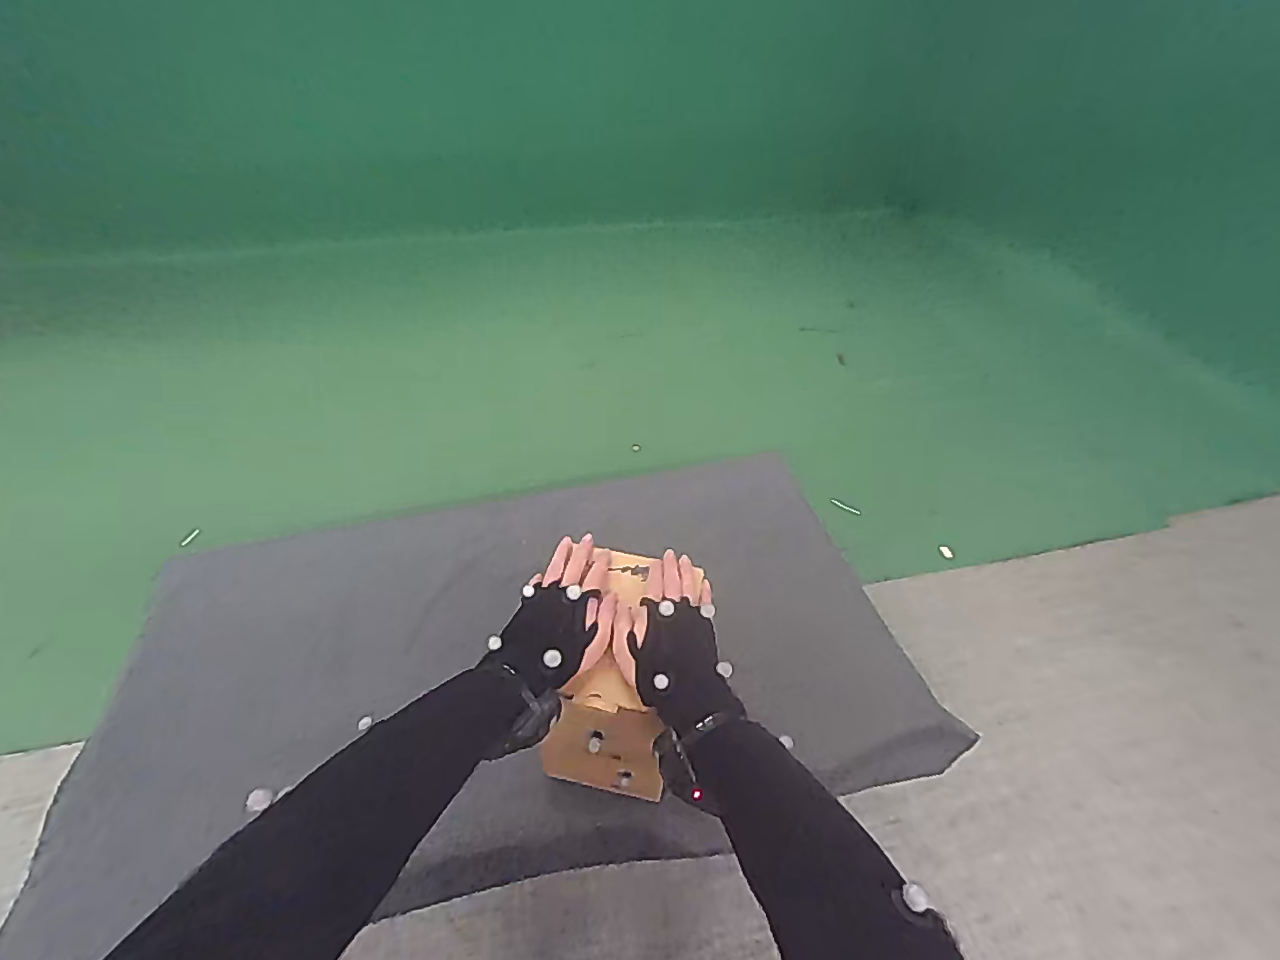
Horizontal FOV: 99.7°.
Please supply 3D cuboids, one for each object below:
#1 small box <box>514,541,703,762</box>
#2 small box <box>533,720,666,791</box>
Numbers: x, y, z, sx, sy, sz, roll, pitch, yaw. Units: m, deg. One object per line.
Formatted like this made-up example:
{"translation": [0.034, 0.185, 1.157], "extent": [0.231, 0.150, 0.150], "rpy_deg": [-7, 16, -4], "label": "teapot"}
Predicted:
{"translation": [-0.027, 0.201, 0.625], "extent": [0.168, 0.176, 0.179], "rpy_deg": [10, 48, 6], "label": "small box"}
{"translation": [-0.035, 0.304, 0.750], "extent": [0.168, 0.176, 0.179], "rpy_deg": [10, 46, 6], "label": "small box"}
